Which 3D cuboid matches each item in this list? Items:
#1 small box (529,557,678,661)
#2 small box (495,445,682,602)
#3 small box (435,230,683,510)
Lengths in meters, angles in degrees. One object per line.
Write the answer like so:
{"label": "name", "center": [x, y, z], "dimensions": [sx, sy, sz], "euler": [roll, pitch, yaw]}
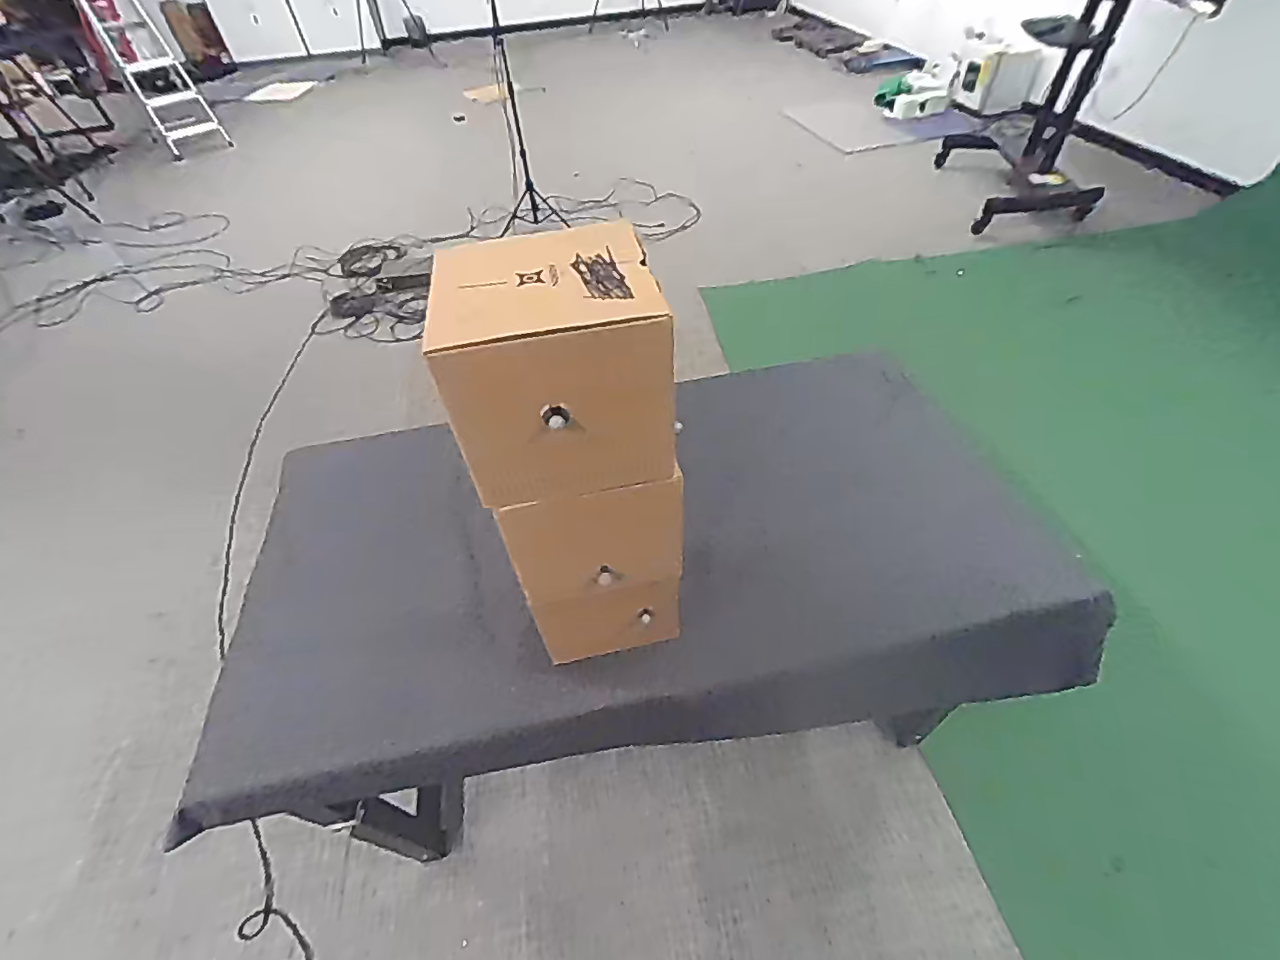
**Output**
{"label": "small box", "center": [-0.051, 0.120, 0.730], "dimensions": [0.179, 0.176, 0.168], "euler": [-12, 48, -5]}
{"label": "small box", "center": [-0.058, 0.014, 0.605], "dimensions": [0.179, 0.176, 0.168], "euler": [-10, 47, -6]}
{"label": "small box", "center": [-0.070, -0.097, 0.484], "dimensions": [0.179, 0.176, 0.168], "euler": [-11, 48, -8]}
